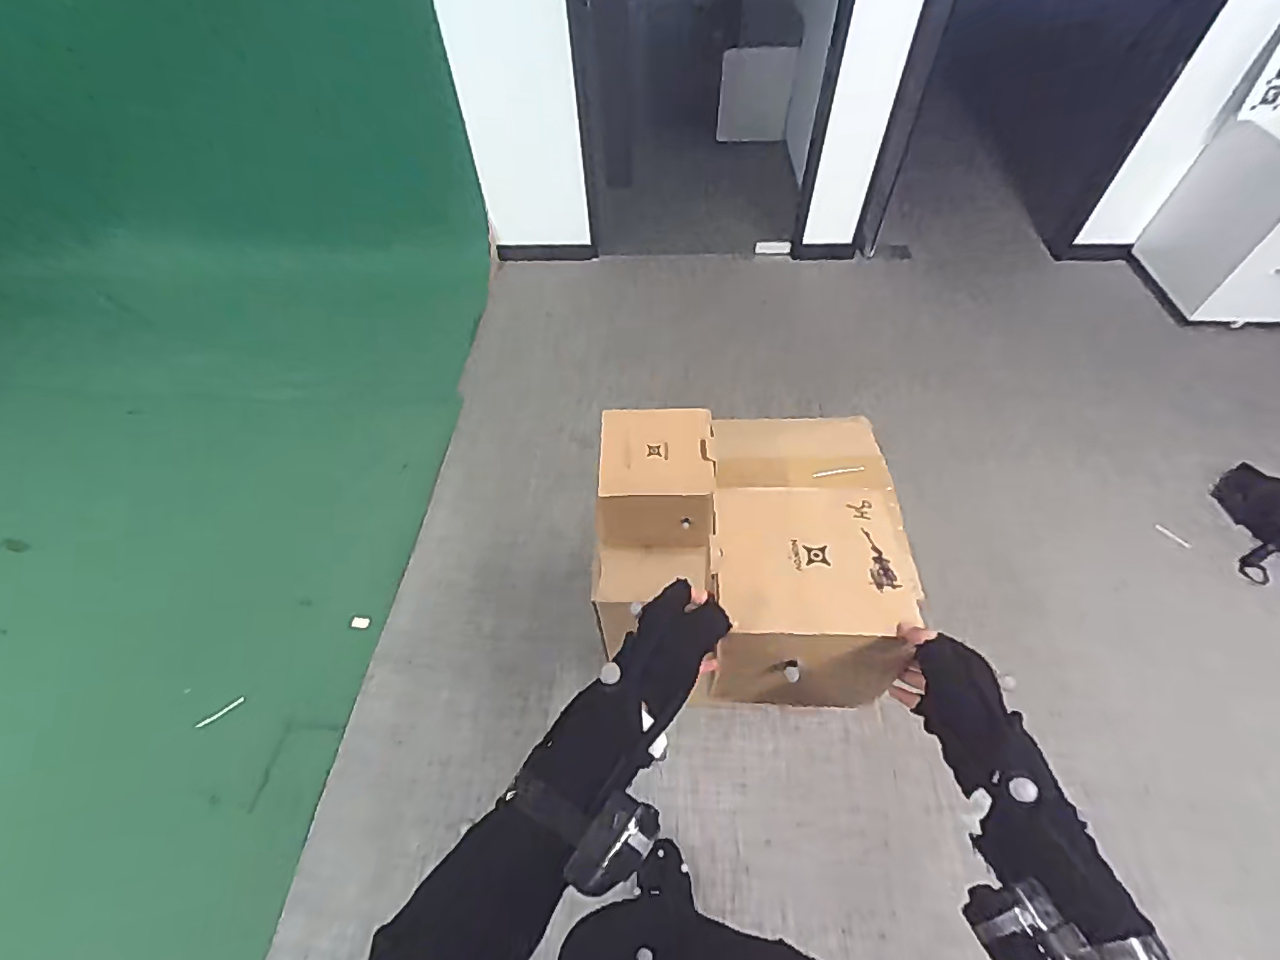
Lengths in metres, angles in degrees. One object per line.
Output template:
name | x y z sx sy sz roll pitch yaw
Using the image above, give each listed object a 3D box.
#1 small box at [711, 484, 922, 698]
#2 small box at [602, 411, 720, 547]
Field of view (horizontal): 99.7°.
small box | 0.165 0.120 0.578 0.179 0.176 0.168 0 48 5
small box | 0.034 0.003 0.897 0.179 0.176 0.168 -2 56 2
